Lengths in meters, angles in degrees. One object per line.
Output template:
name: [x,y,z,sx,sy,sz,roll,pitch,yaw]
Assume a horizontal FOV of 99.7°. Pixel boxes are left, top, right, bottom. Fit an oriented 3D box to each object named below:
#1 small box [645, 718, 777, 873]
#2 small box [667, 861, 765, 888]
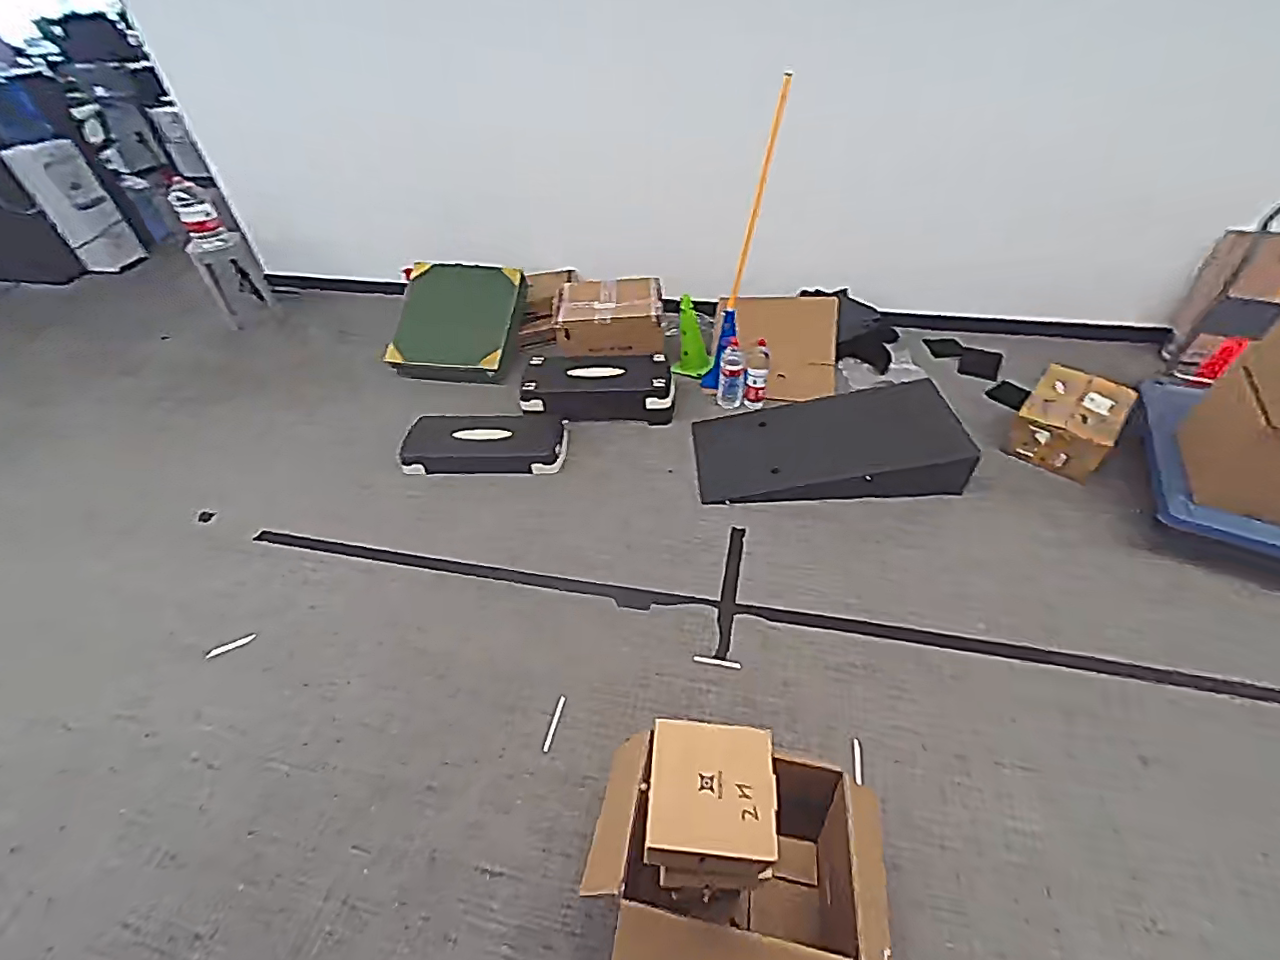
small box: [0.101,0.479,0.817,0.179,0.176,0.168,5,49,4]
small box: [0.134,0.688,1.072,0.179,0.176,0.168,-5,48,-6]
